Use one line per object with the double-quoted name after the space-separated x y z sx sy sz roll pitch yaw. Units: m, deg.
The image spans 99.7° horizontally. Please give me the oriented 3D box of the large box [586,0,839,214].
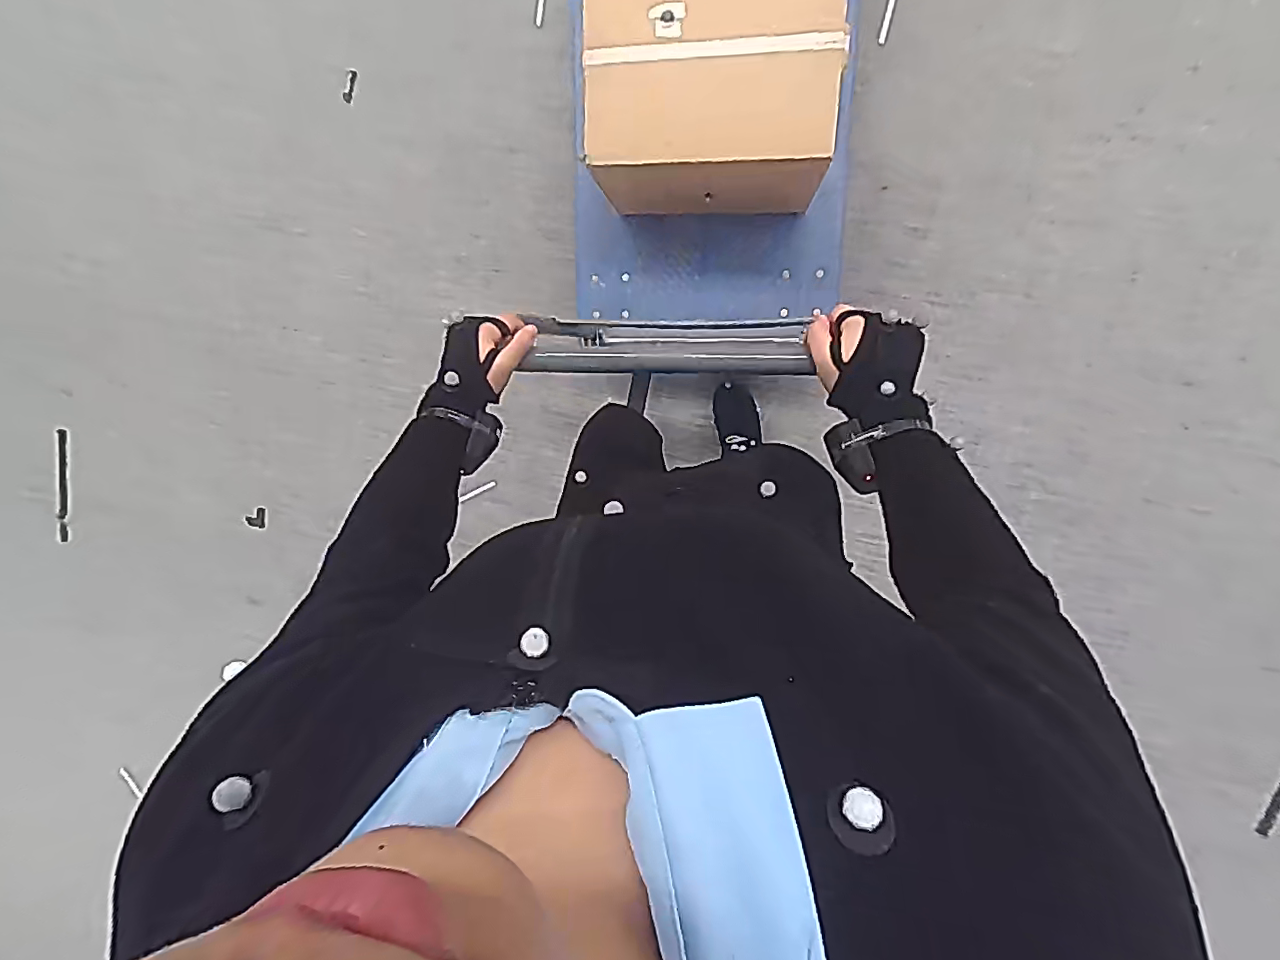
0.133 -0.703 1.005 0.408 0.320 0.320 3 101 9 "large box"
